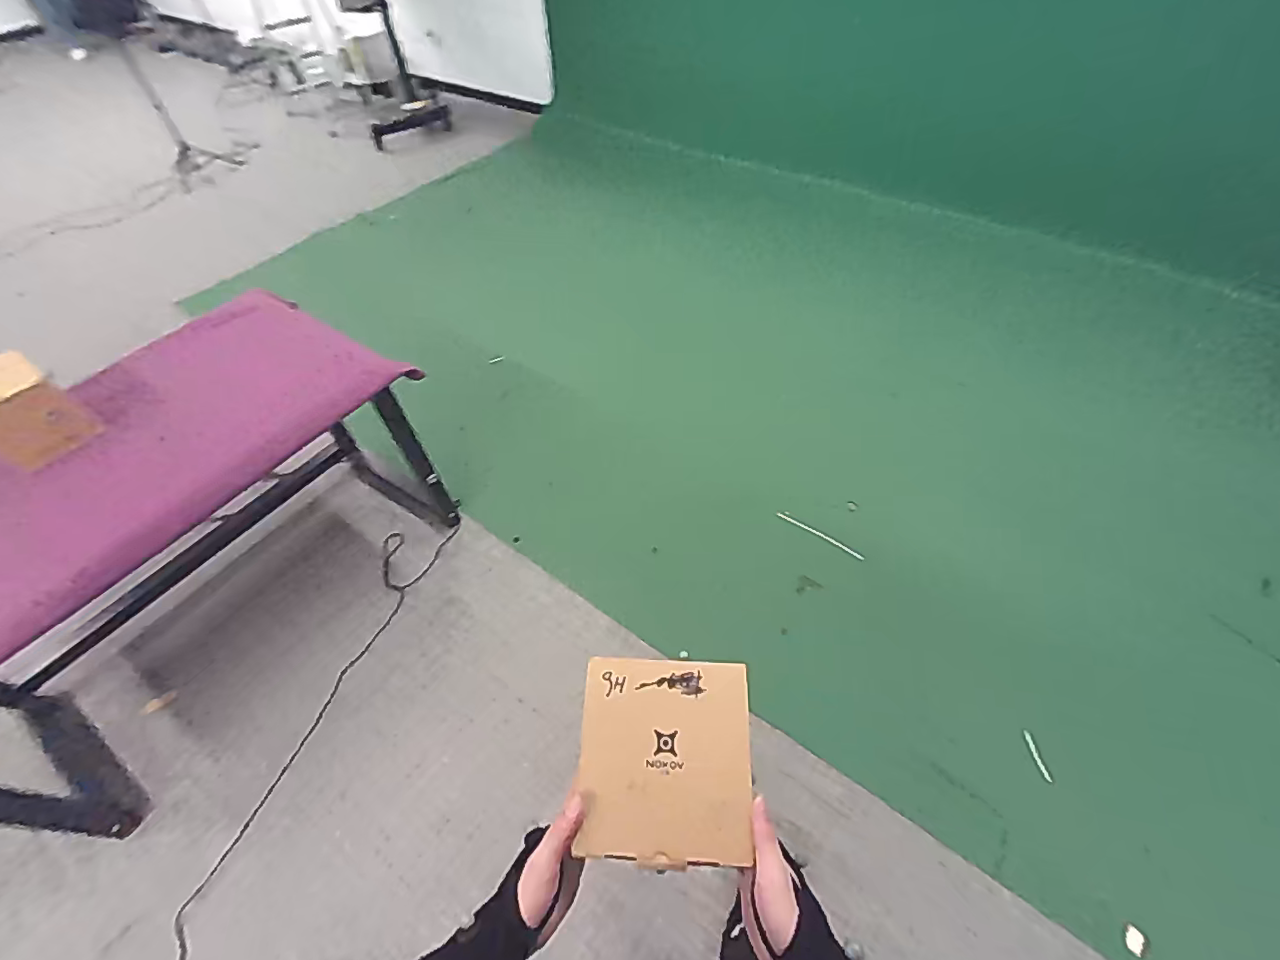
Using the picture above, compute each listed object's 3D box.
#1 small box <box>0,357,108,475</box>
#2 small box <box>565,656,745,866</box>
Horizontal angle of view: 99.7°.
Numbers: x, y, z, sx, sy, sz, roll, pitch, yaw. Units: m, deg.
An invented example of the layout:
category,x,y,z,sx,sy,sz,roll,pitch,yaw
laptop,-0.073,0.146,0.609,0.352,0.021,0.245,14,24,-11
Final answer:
category,x,y,z,sx,sy,sz,roll,pitch,yaw
small box,-1.355,-0.136,1.198,0.179,0.176,0.168,27,58,22
small box,0.021,0.299,0.589,0.168,0.176,0.179,0,61,3
